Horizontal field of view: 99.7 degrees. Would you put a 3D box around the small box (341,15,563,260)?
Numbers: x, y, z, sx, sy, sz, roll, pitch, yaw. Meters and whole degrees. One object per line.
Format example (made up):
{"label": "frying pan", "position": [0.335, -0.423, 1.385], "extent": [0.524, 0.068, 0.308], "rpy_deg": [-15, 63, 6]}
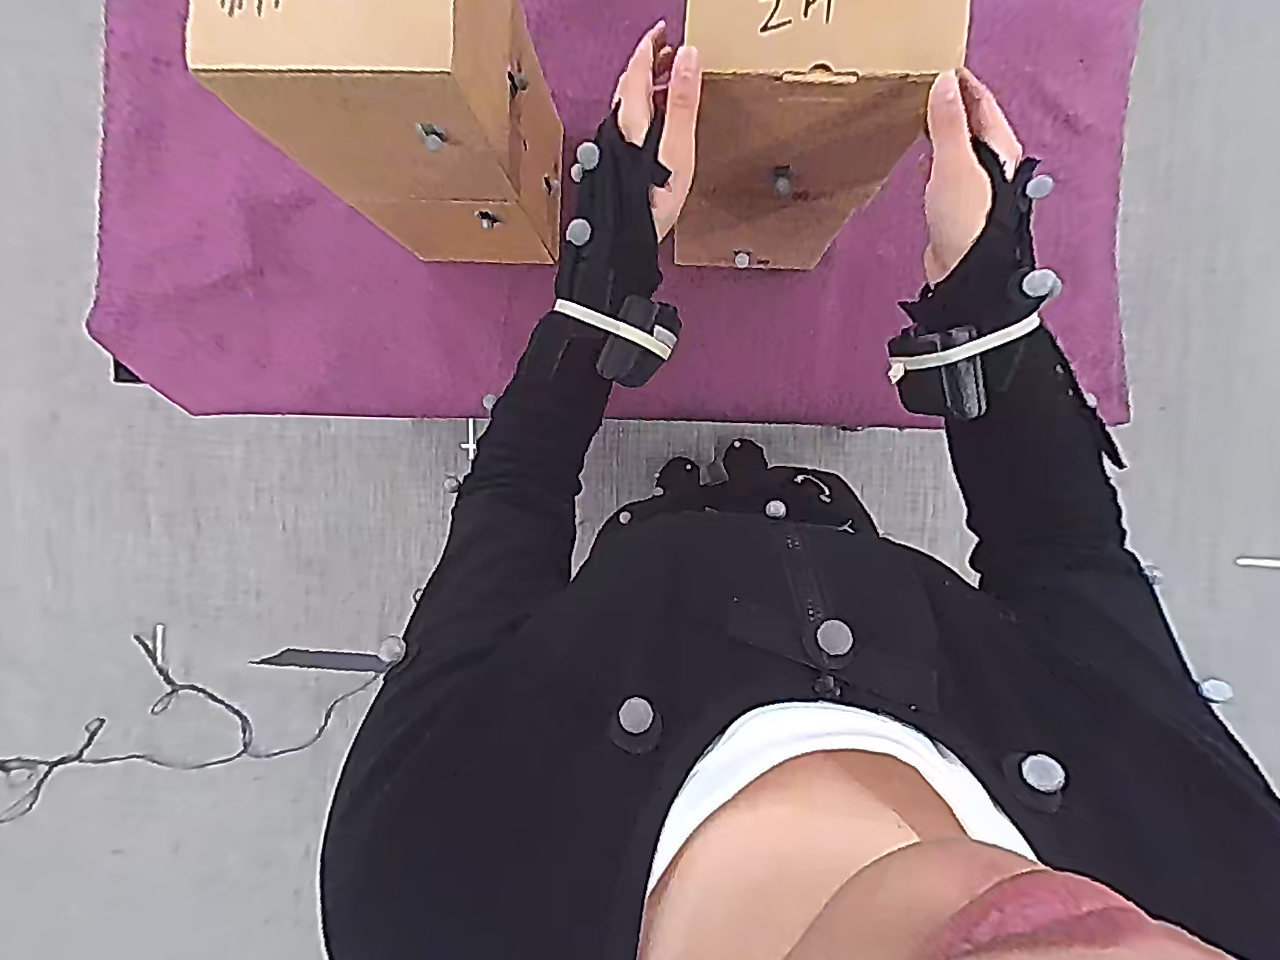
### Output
{"label": "small box", "position": [-0.189, -0.351, 0.585], "extent": [0.179, 0.176, 0.168], "rpy_deg": [2, 92, 3]}

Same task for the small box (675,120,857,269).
{"label": "small box", "position": [0.125, -0.341, 0.565], "extent": [0.168, 0.176, 0.179], "rpy_deg": [4, 93, 3]}

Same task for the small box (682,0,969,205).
{"label": "small box", "position": [0.119, -0.334, 0.399], "extent": [0.168, 0.176, 0.179], "rpy_deg": [4, 92, 4]}
